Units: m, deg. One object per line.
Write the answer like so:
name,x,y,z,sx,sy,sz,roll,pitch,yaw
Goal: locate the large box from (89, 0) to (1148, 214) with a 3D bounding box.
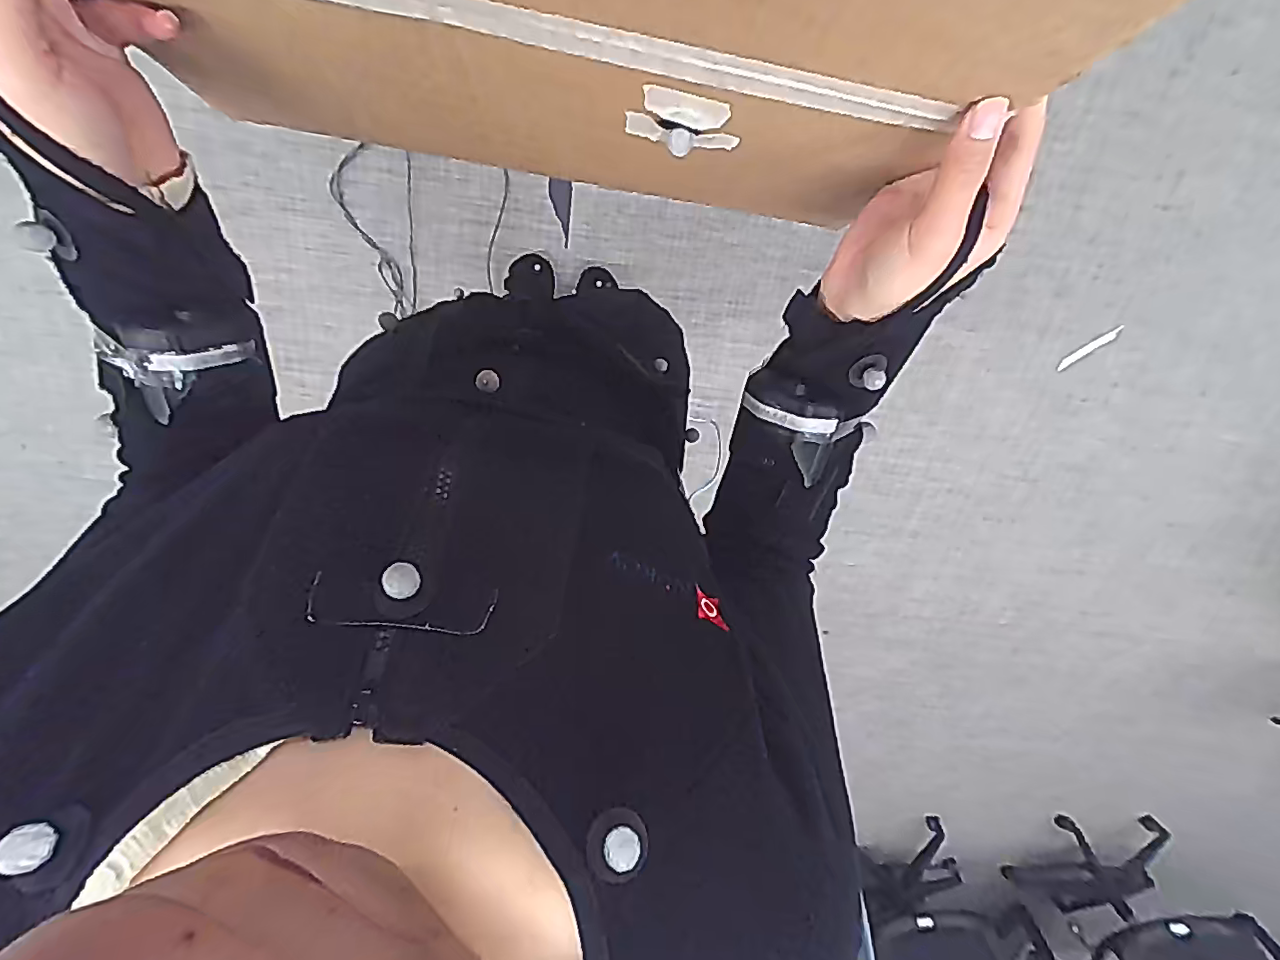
large box,-0.023,-0.335,0.195,0.408,0.320,0.320,5,99,-7
